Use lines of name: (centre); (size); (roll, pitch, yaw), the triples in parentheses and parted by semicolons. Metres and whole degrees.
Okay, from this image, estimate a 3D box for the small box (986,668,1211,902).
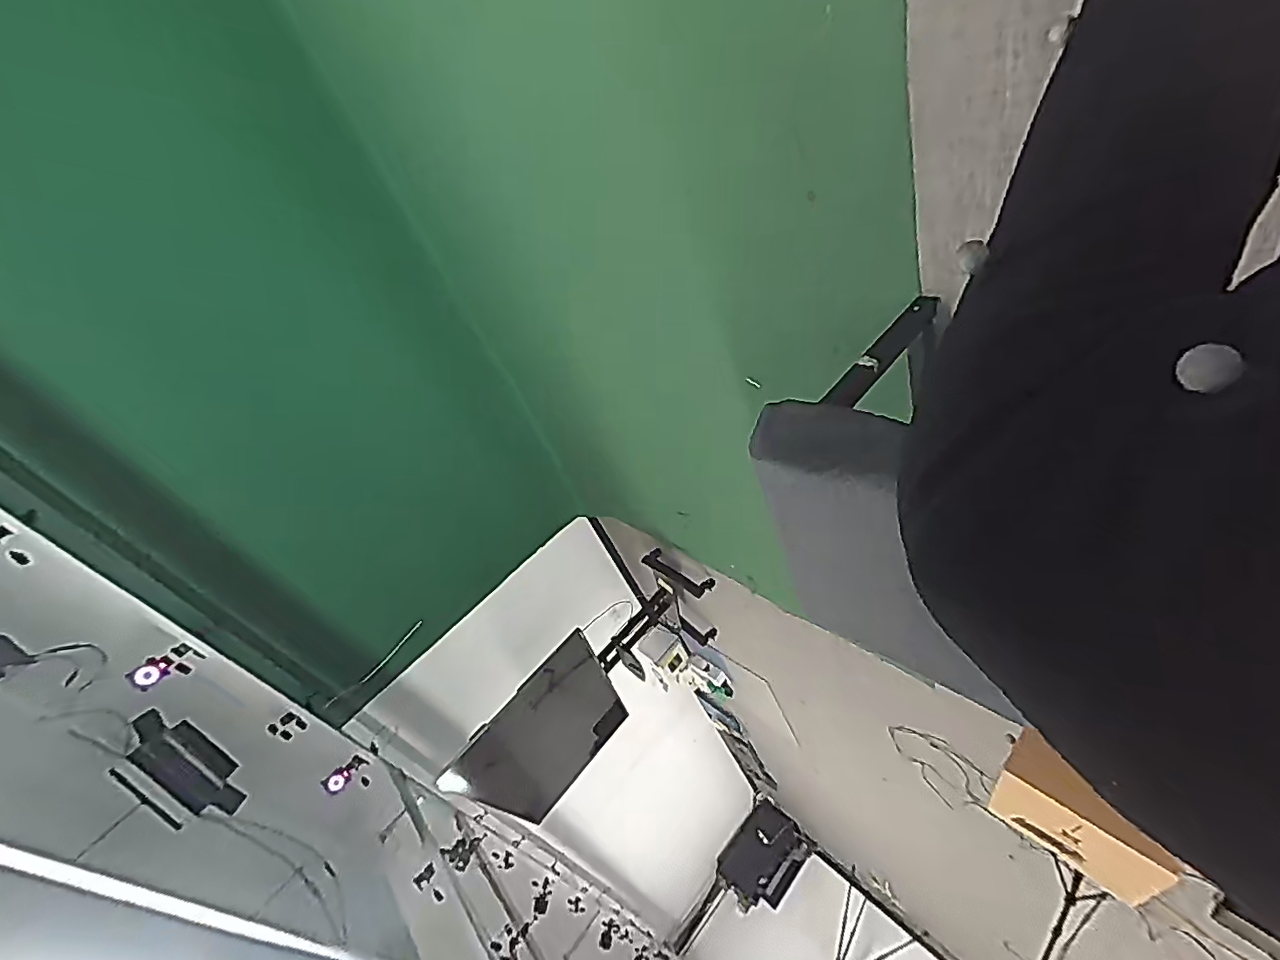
small box: (0.572, 0.380, 0.689); (0.168, 0.176, 0.179); (26, 153, 45)
